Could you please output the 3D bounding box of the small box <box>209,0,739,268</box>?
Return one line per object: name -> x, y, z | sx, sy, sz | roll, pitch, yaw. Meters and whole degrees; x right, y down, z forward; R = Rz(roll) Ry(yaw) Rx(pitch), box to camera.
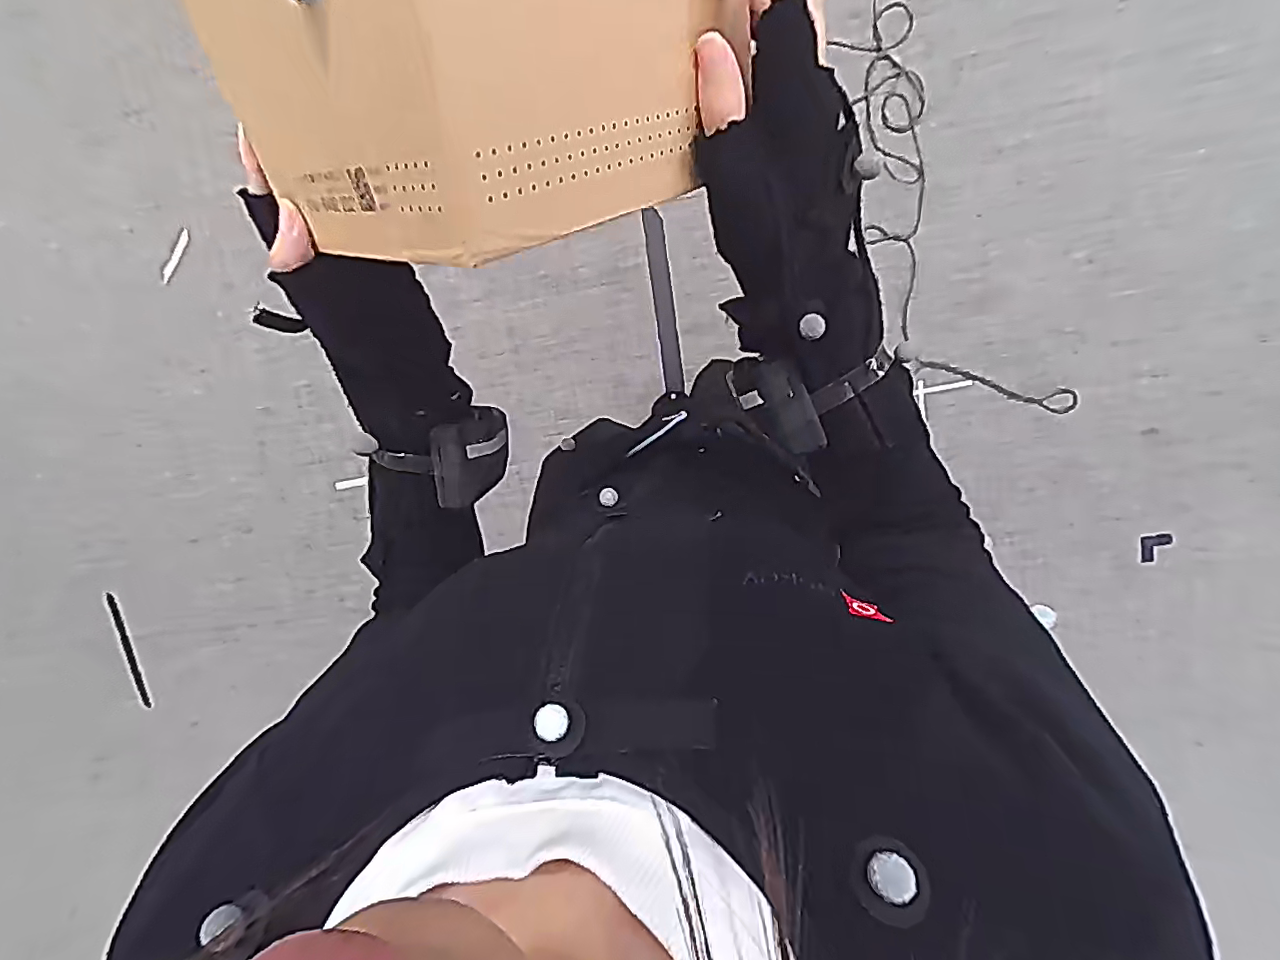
small box -> -0.067, -0.204, 0.236 | 0.168, 0.179, 0.176 | 24, 138, 37
